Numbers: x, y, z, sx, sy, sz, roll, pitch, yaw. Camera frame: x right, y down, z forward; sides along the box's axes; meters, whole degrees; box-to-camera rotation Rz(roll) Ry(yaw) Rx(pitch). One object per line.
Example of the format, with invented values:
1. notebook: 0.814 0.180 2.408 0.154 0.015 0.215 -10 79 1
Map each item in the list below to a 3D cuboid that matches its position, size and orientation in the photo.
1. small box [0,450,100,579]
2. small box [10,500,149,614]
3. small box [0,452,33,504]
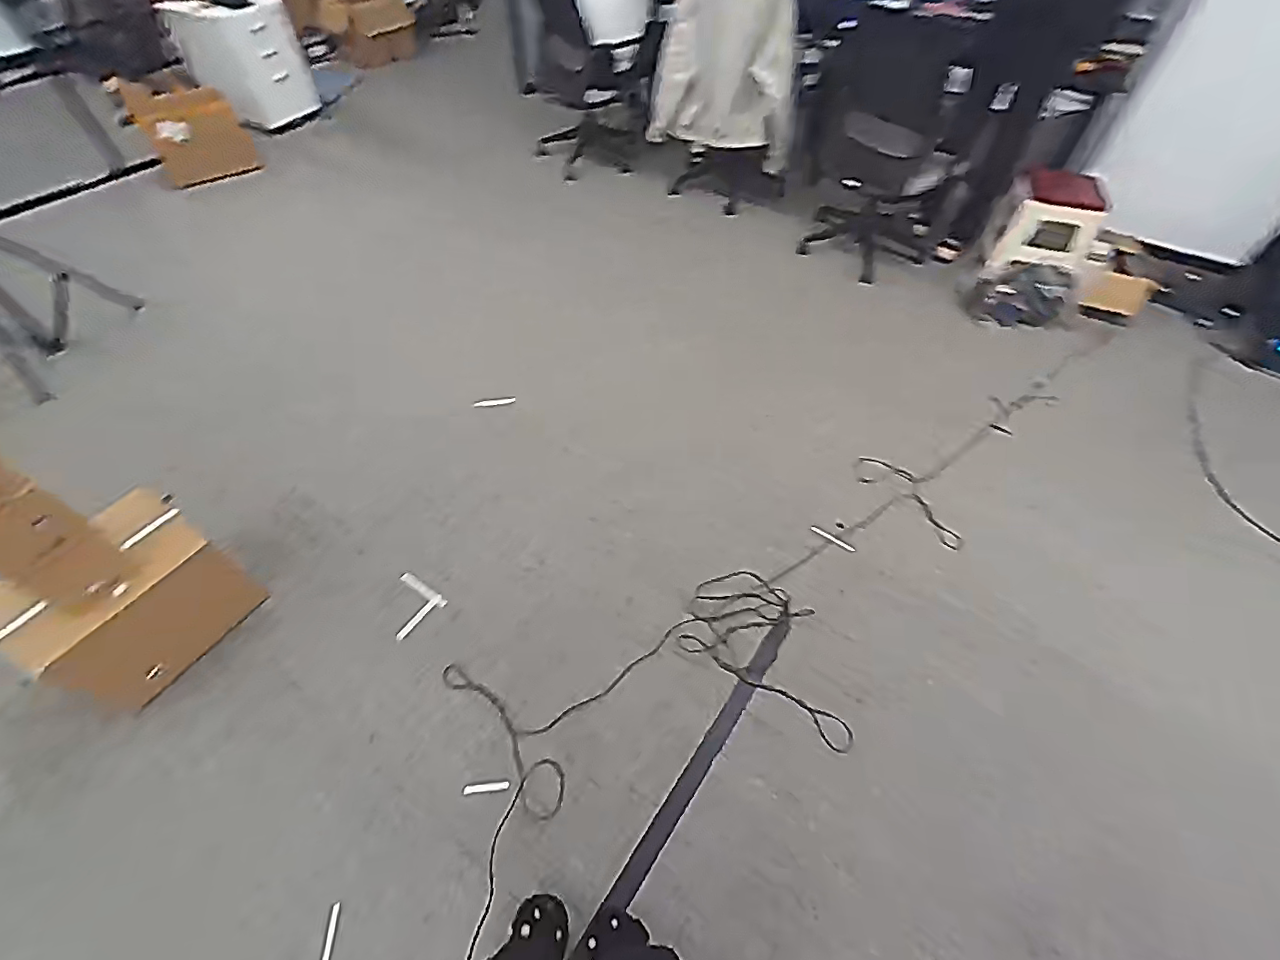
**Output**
1. small box: -1.281 0.076 1.100 0.179 0.176 0.168 26 55 18
2. small box: -1.293 0.175 1.228 0.179 0.176 0.168 28 57 17
3. small box: -1.280 -0.023 0.969 0.179 0.176 0.168 23 54 14
